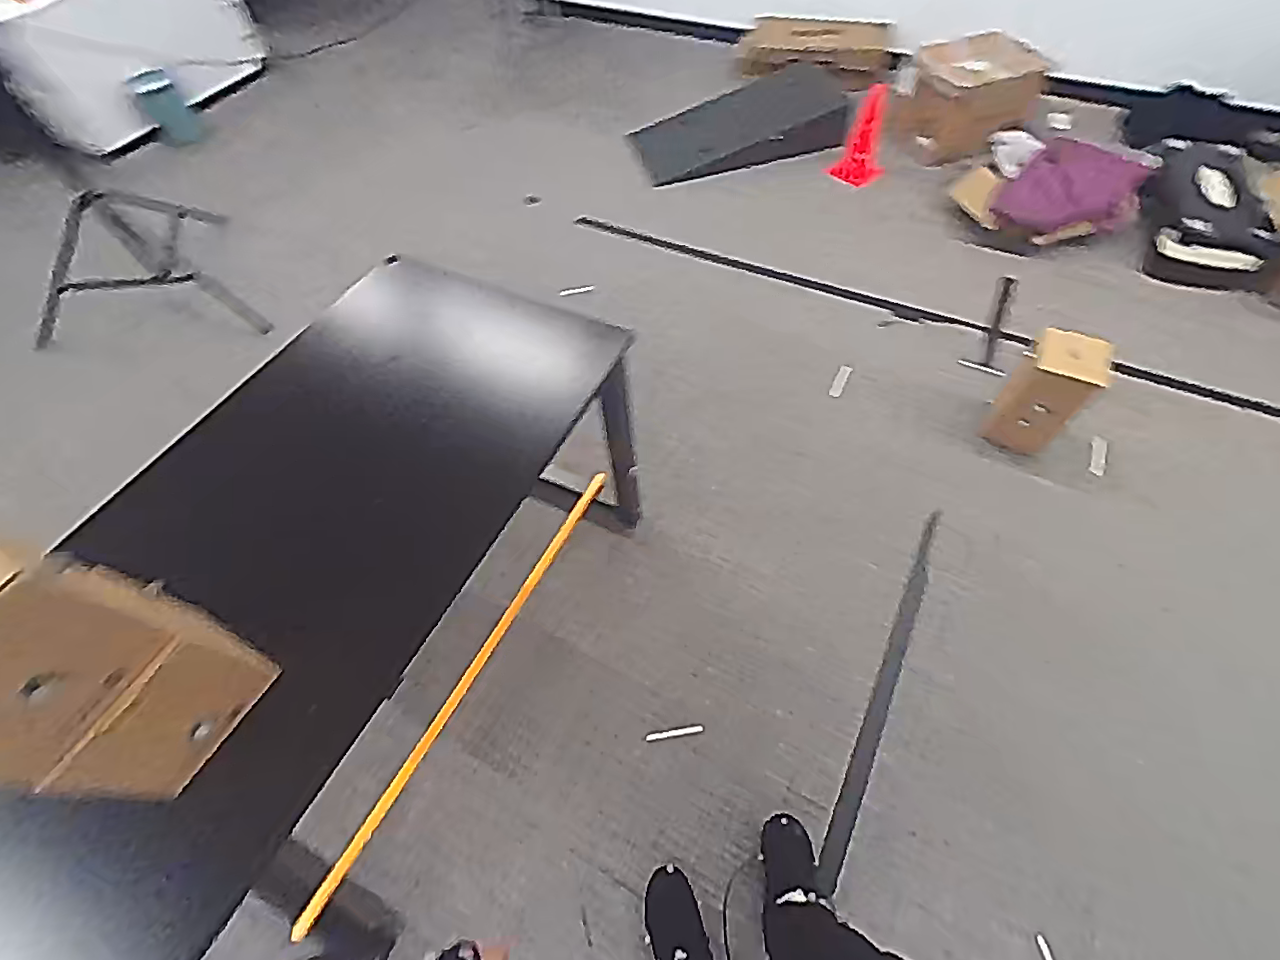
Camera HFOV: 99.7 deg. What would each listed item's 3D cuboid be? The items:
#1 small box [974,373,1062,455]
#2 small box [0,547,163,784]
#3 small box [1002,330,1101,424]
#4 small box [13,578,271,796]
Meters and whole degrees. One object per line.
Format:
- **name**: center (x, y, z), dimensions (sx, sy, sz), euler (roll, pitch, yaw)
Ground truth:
- **small box**: center (1.181, -0.204, 1.684), dimensions (0.179, 0.176, 0.168), euler (26, 64, 16)
- **small box**: center (-0.614, 0.161, 0.497), dimensions (0.179, 0.176, 0.168), euler (21, 62, 15)
- **small box**: center (1.170, -0.292, 1.547), dimensions (0.168, 0.176, 0.179), euler (21, 63, 16)
- **small box**: center (-0.597, 0.249, 0.634), dimensions (0.179, 0.176, 0.168), euler (24, 63, 17)
